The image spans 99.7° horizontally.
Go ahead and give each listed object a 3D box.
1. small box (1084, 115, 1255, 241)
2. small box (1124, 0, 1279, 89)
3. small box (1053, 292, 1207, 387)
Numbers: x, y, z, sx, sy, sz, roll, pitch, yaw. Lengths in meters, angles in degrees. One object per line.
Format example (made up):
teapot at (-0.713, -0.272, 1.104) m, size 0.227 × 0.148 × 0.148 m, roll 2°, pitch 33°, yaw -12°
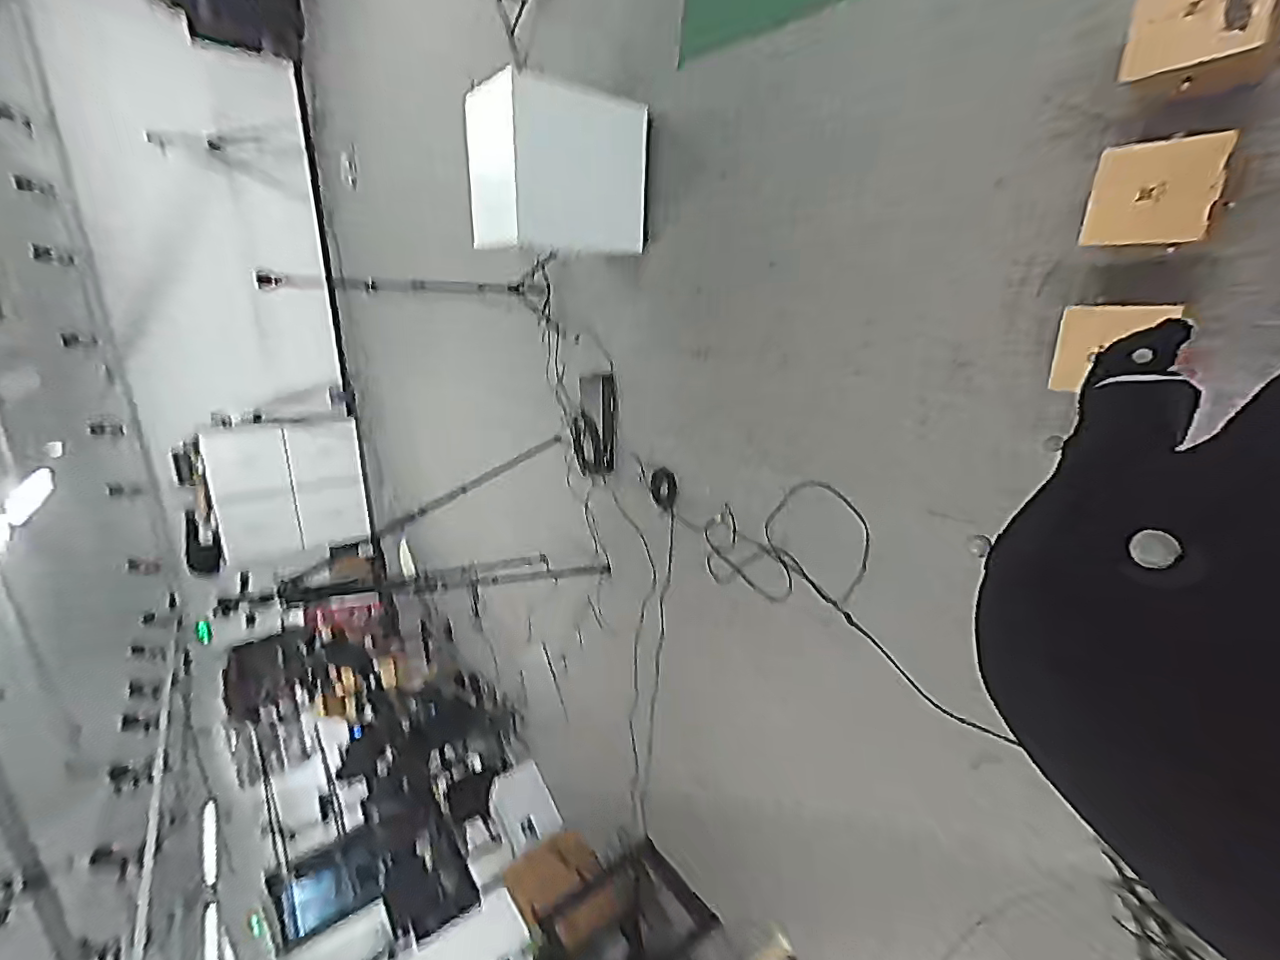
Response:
small box at (0.966, -0.538, 0.990) m, size 0.179 × 0.176 × 0.168 m, roll 23°, pitch 118°, yaw 48°
small box at (0.966, -0.794, 0.910) m, size 0.179 × 0.176 × 0.168 m, roll 19°, pitch 115°, yaw 50°
small box at (0.964, -0.281, 1.068) m, size 0.179 × 0.176 × 0.168 m, roll 21°, pitch 118°, yaw 49°
